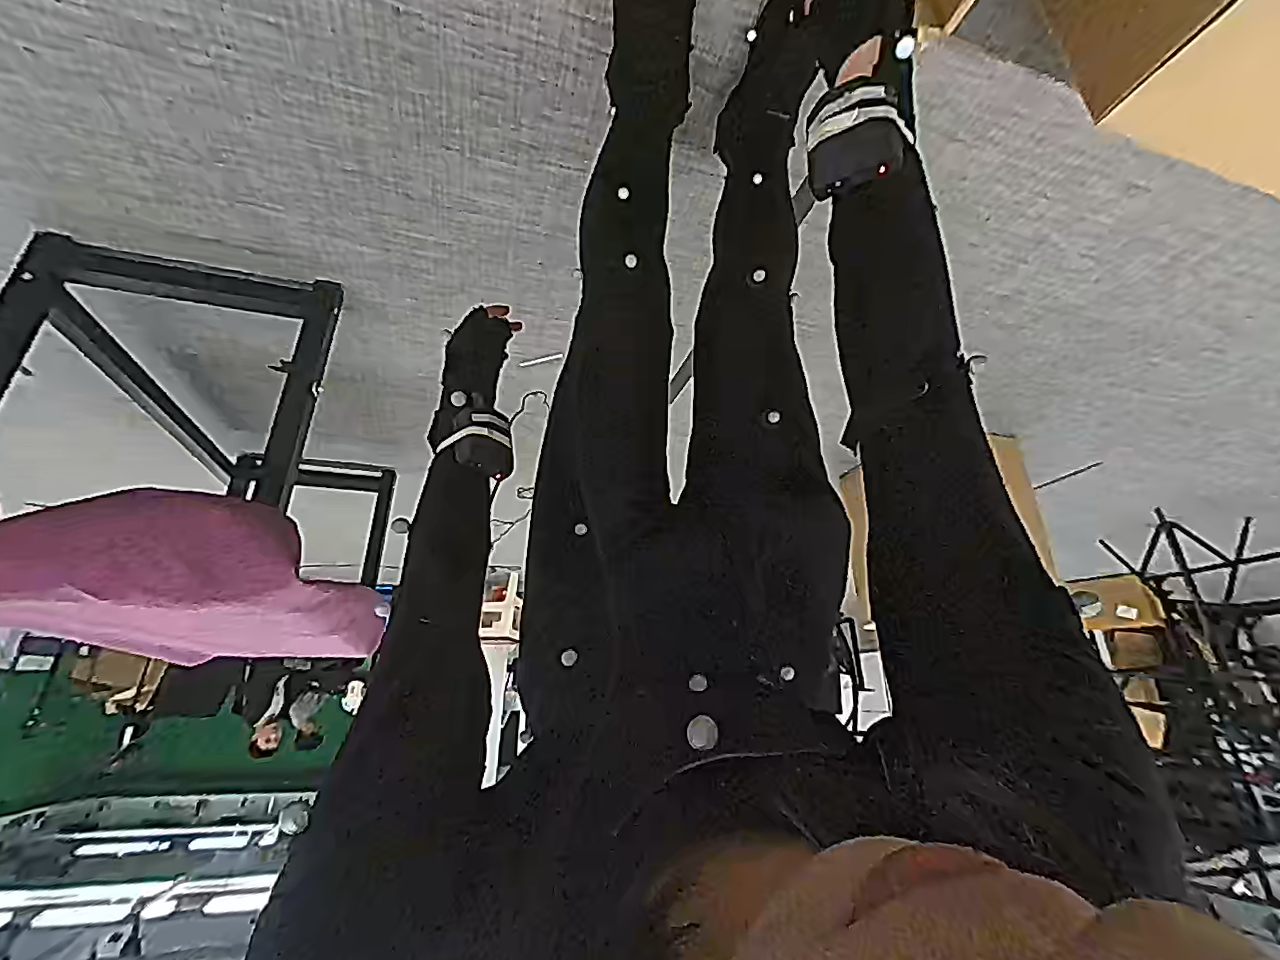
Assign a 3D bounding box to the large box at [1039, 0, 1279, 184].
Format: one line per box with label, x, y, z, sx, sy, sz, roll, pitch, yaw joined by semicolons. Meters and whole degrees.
large box;0.734;-0.575;0.571;0.408;0.320;0.320;6;157;-16
